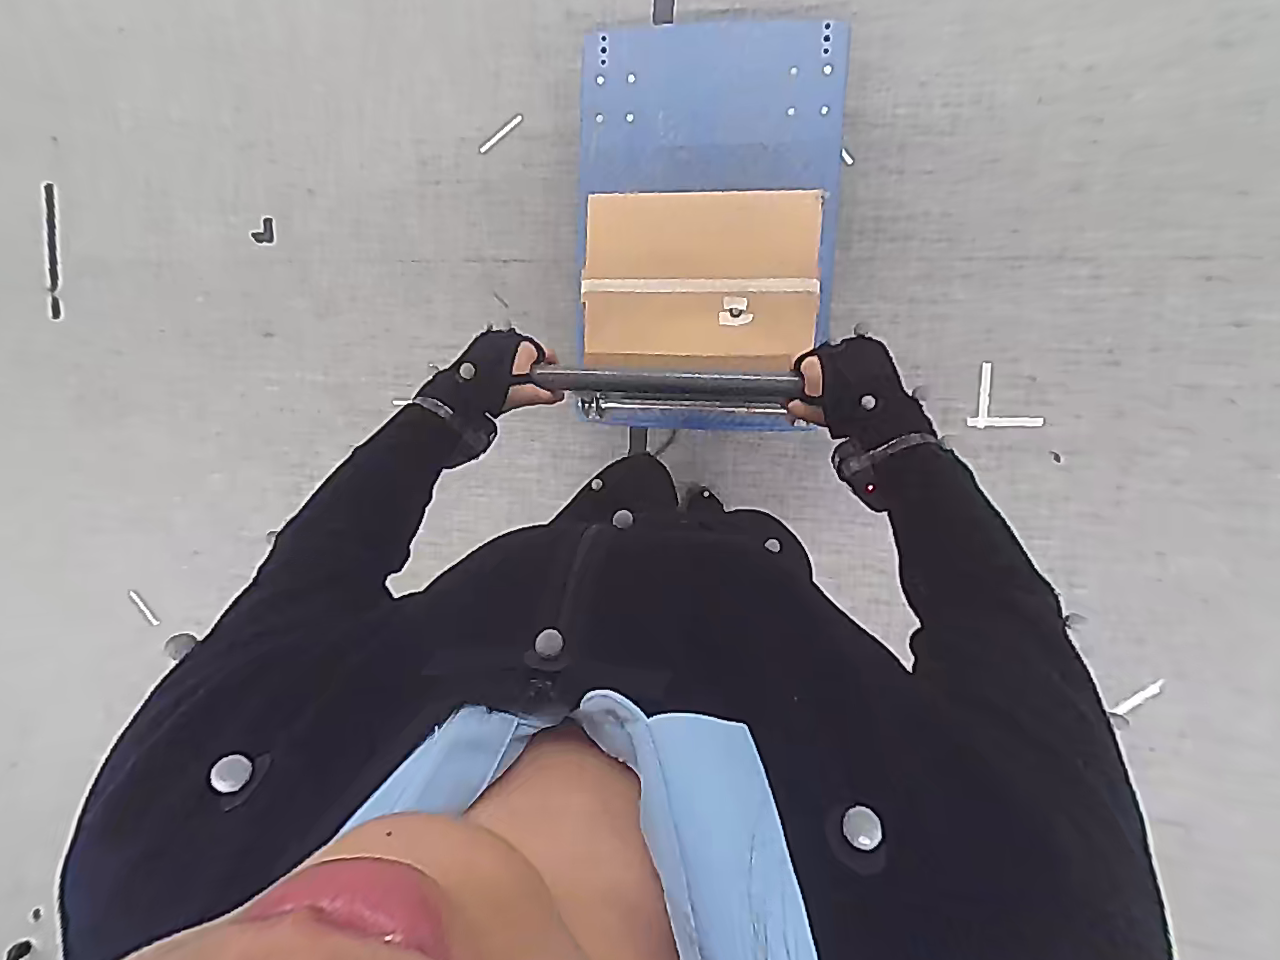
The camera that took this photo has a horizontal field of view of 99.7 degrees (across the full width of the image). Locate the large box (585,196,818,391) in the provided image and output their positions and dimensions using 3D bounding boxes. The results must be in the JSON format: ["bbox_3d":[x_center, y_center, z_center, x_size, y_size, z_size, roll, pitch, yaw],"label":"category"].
[{"bbox_3d":[0.115,-0.345,1.089,0.408,0.320,0.320,2,97,7],"label":"large box"}]
